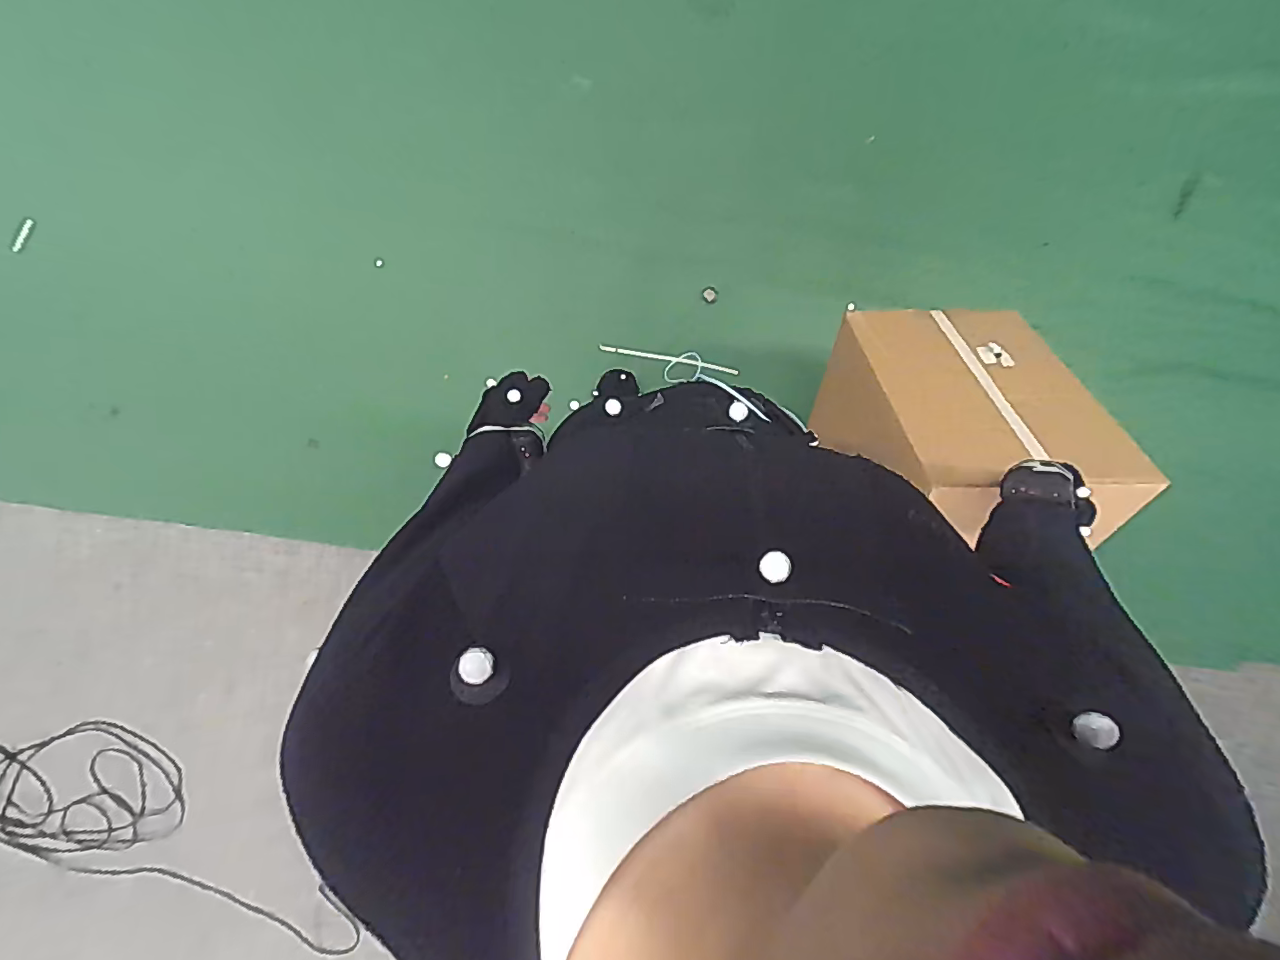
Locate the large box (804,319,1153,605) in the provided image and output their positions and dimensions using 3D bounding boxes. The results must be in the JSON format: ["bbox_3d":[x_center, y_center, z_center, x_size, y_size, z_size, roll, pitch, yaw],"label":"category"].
[{"bbox_3d":[0.515,-0.035,0.944,0.320,0.408,0.320,0,138,-2],"label":"large box"}]
